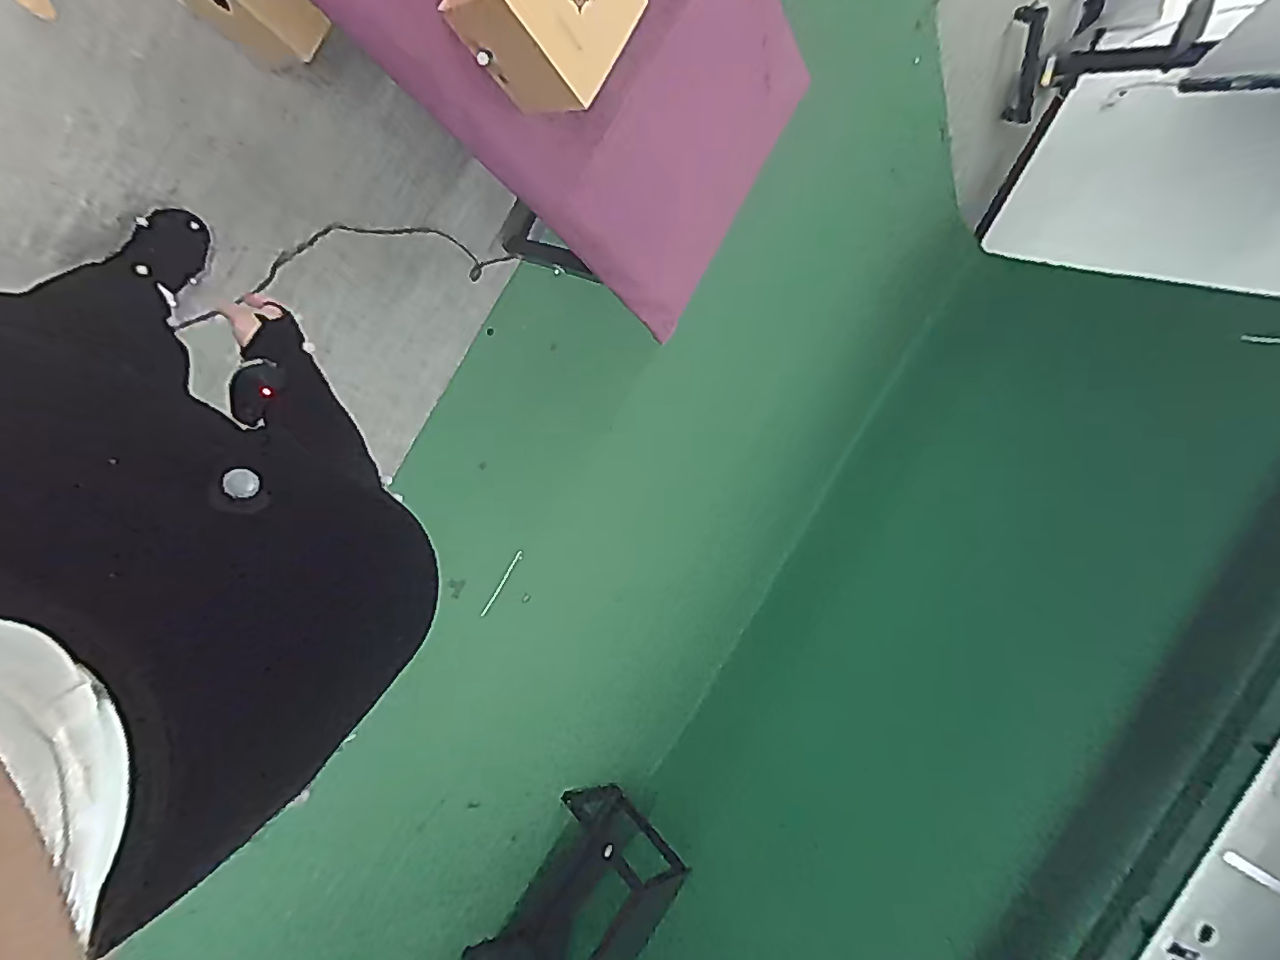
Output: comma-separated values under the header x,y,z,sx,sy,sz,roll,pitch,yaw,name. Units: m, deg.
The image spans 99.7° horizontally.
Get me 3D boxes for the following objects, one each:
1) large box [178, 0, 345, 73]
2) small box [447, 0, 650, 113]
x,y,z,sx,sy,sz,roll,pitch,yaw,name
-0.678,-1.021,0.936,0.320,0.320,0.408,28,92,-52,large box
-0.125,-0.631,0.722,0.168,0.176,0.179,30,91,-51,small box
